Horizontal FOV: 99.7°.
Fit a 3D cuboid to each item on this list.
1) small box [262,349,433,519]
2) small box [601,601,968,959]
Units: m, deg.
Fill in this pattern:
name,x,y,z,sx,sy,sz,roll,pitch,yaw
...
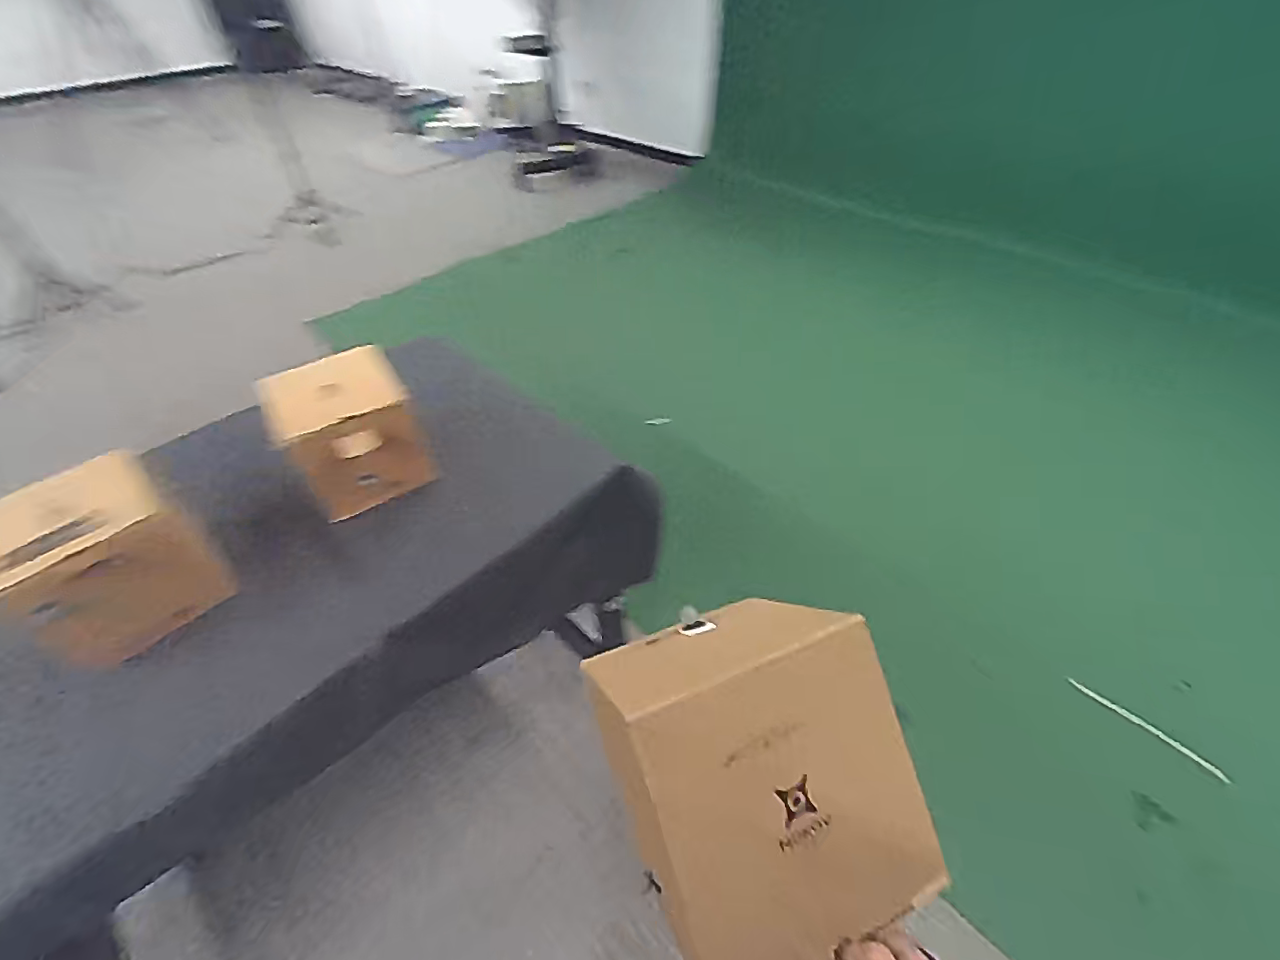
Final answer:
name,x,y,z,sx,sy,sz,roll,pitch,yaw
small box,-0.451,-0.072,0.848,0.168,0.176,0.179,-28,52,-23
small box,0.082,0.201,0.391,0.168,0.176,0.179,-17,86,-16
